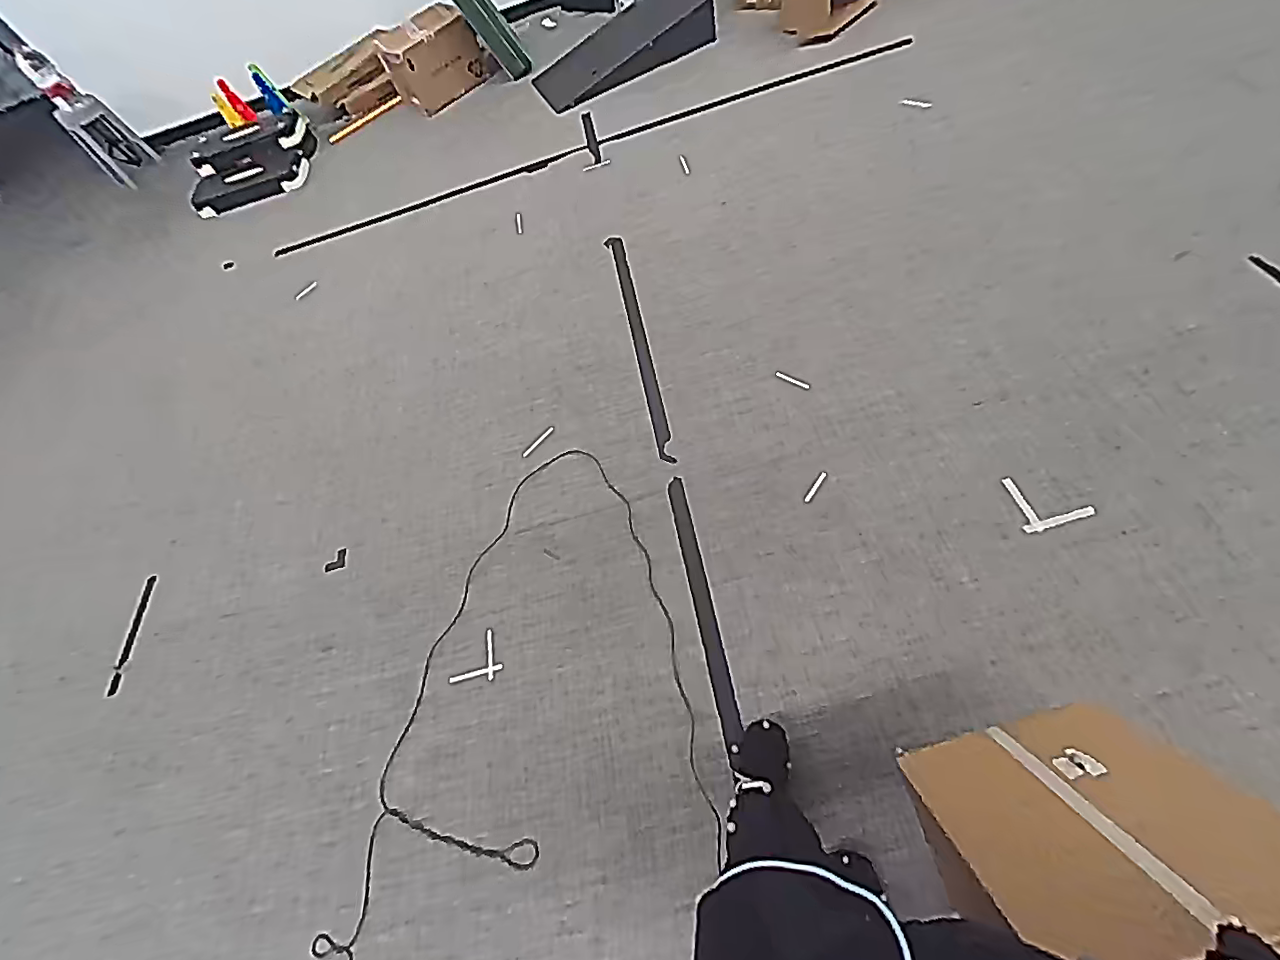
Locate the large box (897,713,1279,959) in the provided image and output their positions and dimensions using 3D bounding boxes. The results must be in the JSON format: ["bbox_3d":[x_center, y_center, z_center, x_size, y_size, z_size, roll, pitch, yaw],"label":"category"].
[{"bbox_3d":[0.596,0.559,0.665,0.320,0.408,0.320,-19,88,4],"label":"large box"}]
